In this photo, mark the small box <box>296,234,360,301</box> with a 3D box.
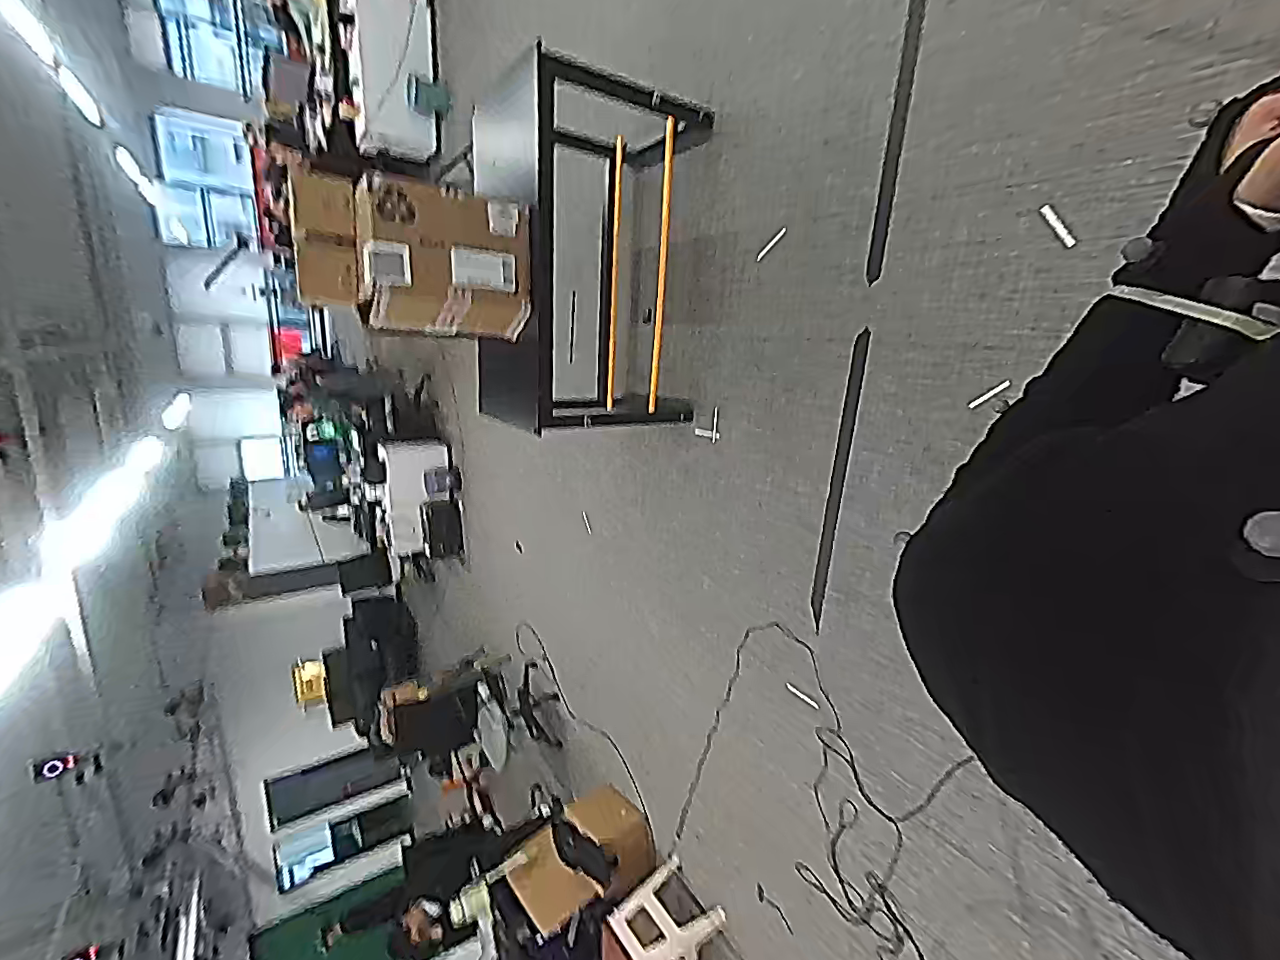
[{"bbox_3d":[-1.012,-0.682,1.756,0.179,0.176,0.168,15,107,56],"label":"small box"}]

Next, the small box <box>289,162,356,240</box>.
[{"bbox_3d":[-1.003,-0.876,1.712,0.179,0.176,0.168,16,106,54],"label":"small box"}]
